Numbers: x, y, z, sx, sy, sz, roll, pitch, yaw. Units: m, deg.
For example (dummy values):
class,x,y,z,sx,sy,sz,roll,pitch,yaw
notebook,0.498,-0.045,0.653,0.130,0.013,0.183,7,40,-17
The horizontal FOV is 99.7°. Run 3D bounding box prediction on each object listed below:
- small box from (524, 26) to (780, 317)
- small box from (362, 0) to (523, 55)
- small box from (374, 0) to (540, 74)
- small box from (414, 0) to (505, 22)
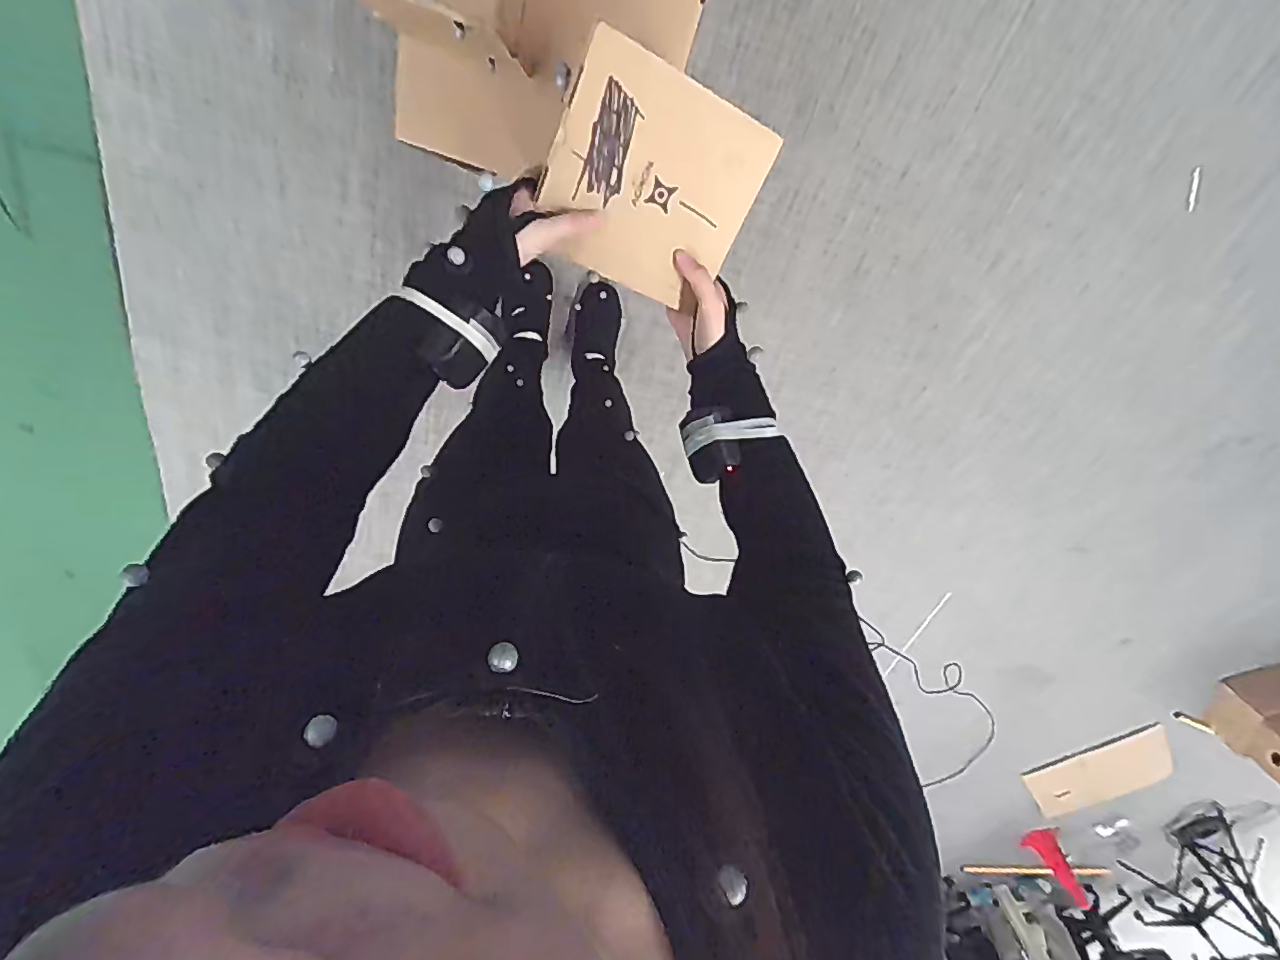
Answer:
class,x,y,z,sx,sy,sz,roll,pitch,yaw
small box,-0.004,-0.287,0.530,0.179,0.176,0.168,18,115,-21
small box,-0.208,-0.563,0.544,0.179,0.176,0.168,11,118,-14
small box,-0.218,-0.643,0.686,0.179,0.176,0.168,10,118,-12
small box,-0.181,-0.482,0.403,0.179,0.176,0.168,12,117,-14
